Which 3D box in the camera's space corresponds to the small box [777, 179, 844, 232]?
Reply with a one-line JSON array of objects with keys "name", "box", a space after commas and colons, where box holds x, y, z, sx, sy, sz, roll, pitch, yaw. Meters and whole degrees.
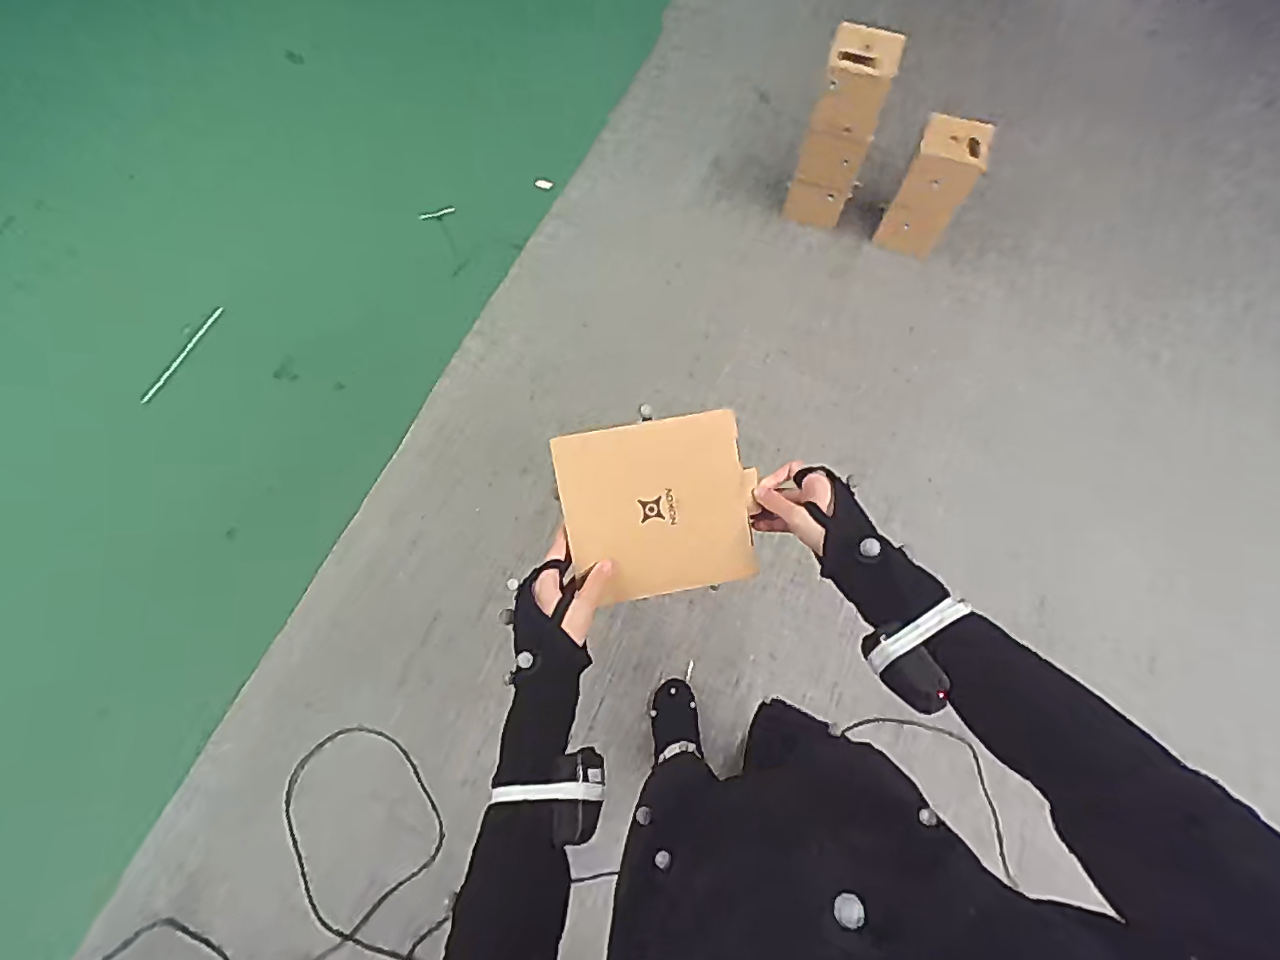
[{"name": "small box", "box": [0.566, -0.944, 1.766, 0.179, 0.176, 0.168, 18, 72, 9]}]

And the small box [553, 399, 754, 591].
[{"name": "small box", "box": [0.011, 0.009, 0.600, 0.179, 0.176, 0.168, -10, 96, -2]}]

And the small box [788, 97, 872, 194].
[{"name": "small box", "box": [0.560, -0.988, 1.609, 0.179, 0.176, 0.168, 18, 71, 9]}]
